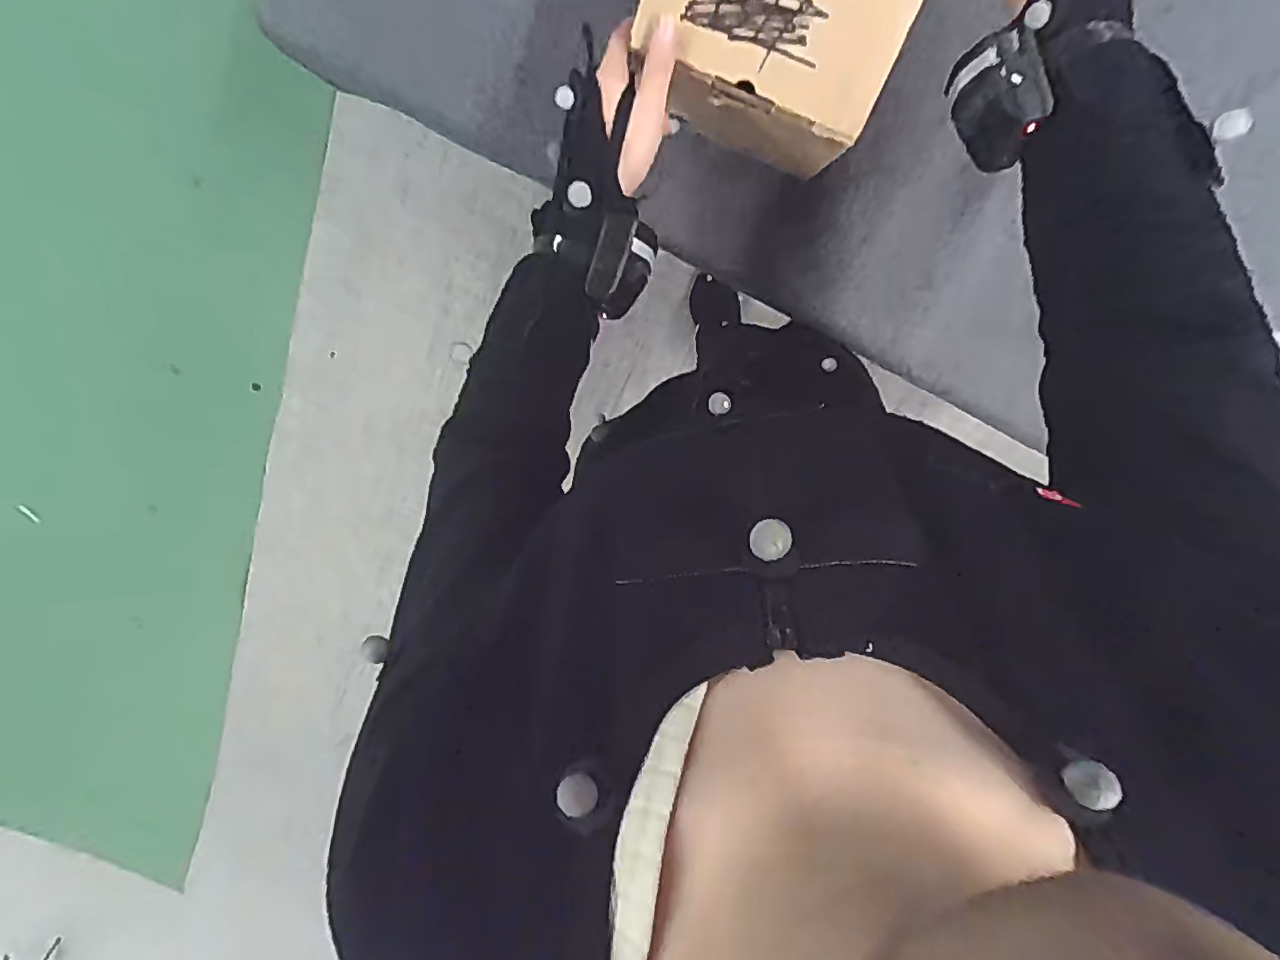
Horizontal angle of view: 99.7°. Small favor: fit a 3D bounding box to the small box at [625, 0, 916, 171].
[{"bbox_3d":[0.104,-0.357,0.398,0.168,0.176,0.179,22,111,-4],"label":"small box"}]
